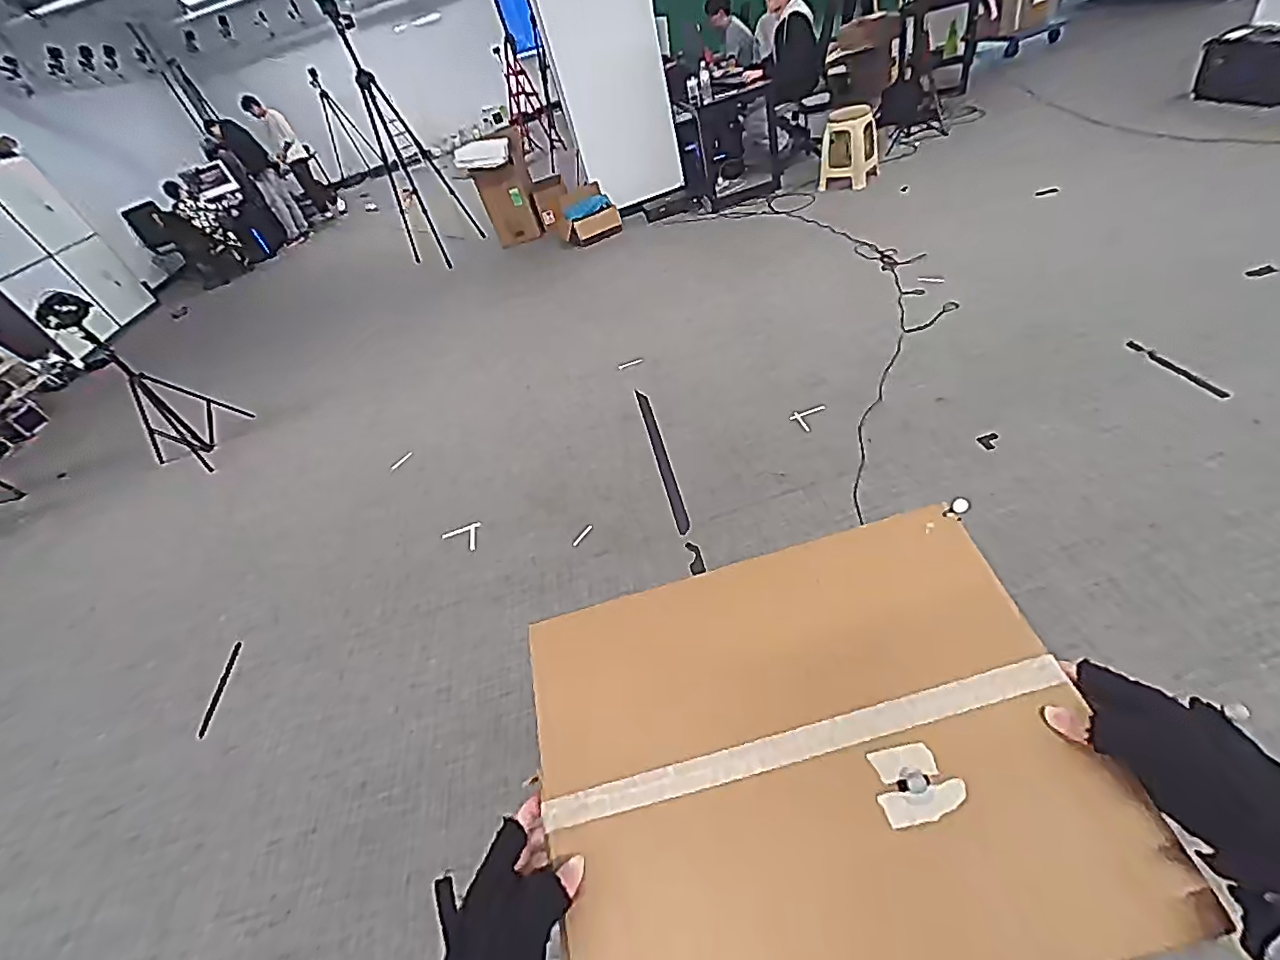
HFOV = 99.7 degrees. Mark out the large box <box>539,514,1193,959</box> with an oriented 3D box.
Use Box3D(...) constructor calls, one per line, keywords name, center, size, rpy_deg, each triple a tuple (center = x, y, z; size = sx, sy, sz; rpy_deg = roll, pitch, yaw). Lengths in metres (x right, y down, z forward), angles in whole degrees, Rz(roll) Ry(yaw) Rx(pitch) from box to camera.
Box3D(name="large box", center=(0.153, 0.293, 0.547), size=(0.408, 0.320, 0.320), rpy_deg=(-17, 55, 2))
